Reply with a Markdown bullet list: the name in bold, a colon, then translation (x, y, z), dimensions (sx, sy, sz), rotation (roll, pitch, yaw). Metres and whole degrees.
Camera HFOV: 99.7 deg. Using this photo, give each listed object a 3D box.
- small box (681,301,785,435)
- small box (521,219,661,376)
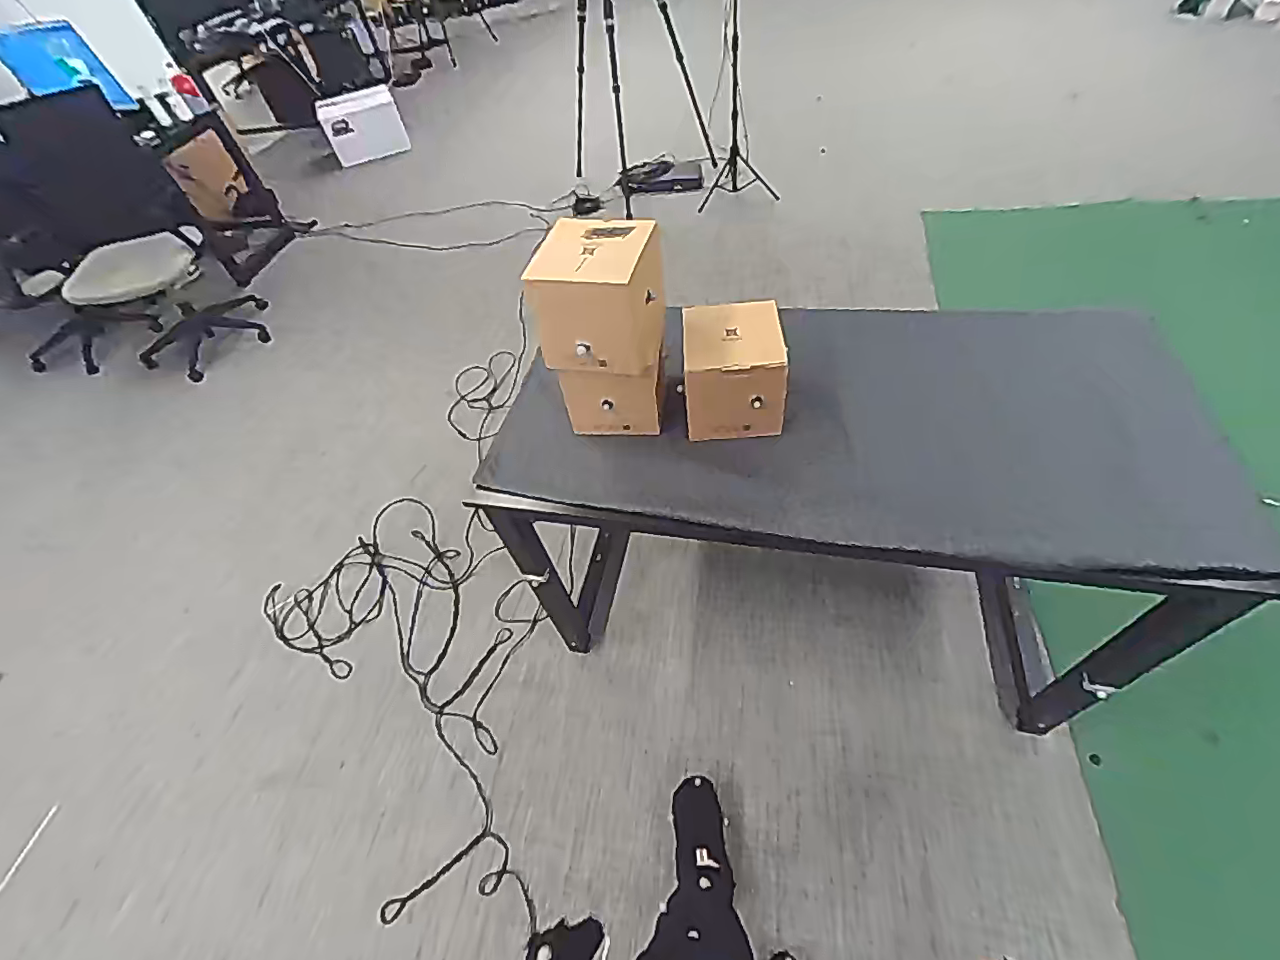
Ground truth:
- **small box**: translation (0.160, -0.193, 0.966), dimensions (0.168, 0.176, 0.179), rotation (-2, 51, 5)
- **small box**: translation (-0.065, -0.293, 0.867), dimensions (0.168, 0.176, 0.179), rotation (8, 54, 14)
